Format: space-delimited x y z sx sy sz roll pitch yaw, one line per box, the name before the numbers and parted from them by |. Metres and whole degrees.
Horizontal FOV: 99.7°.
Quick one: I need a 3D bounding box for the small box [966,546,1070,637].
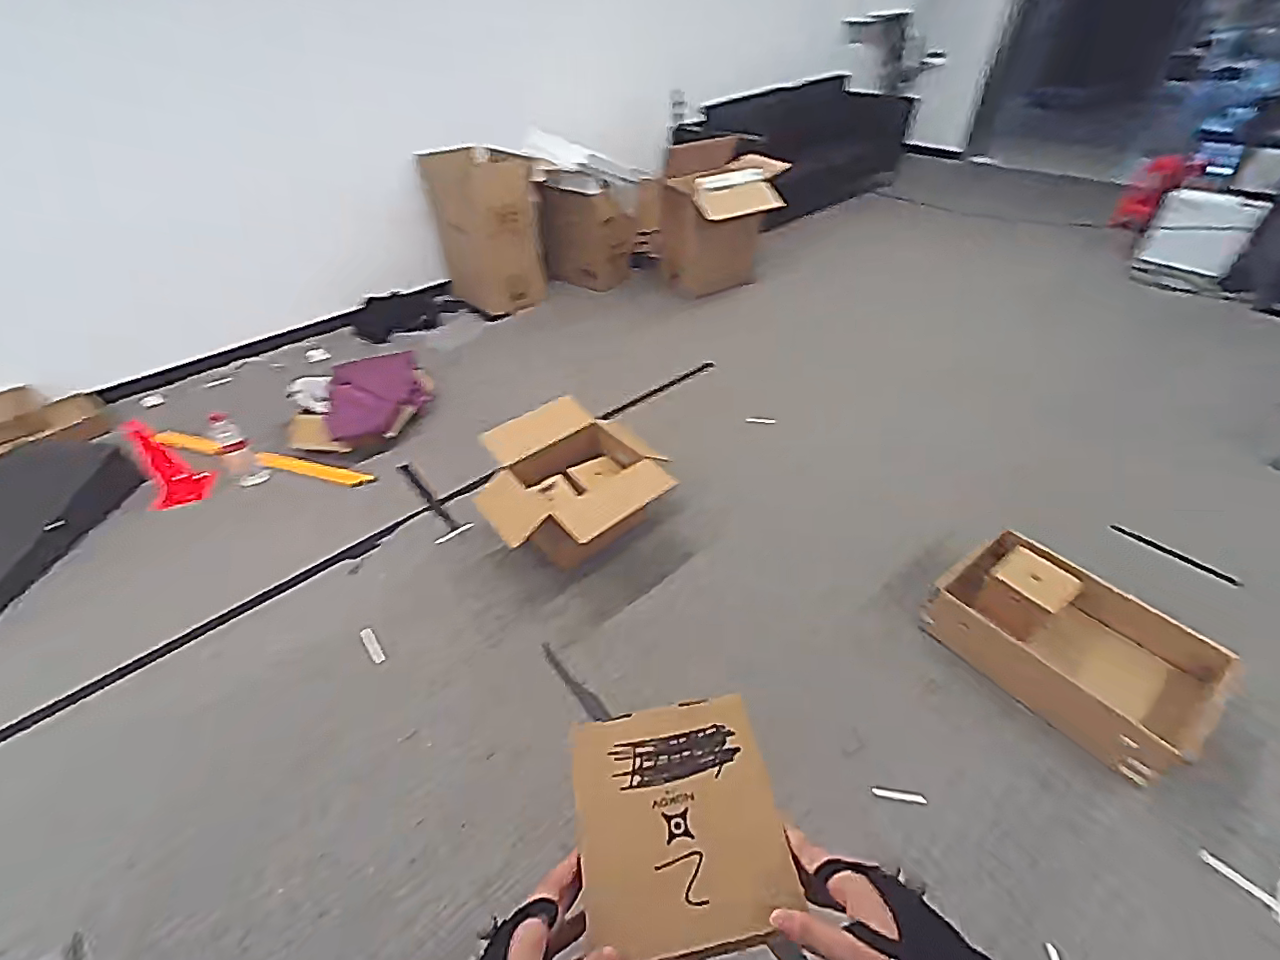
small box | 1.130 0.339 1.634 0.168 0.176 0.179 -30 51 -24
